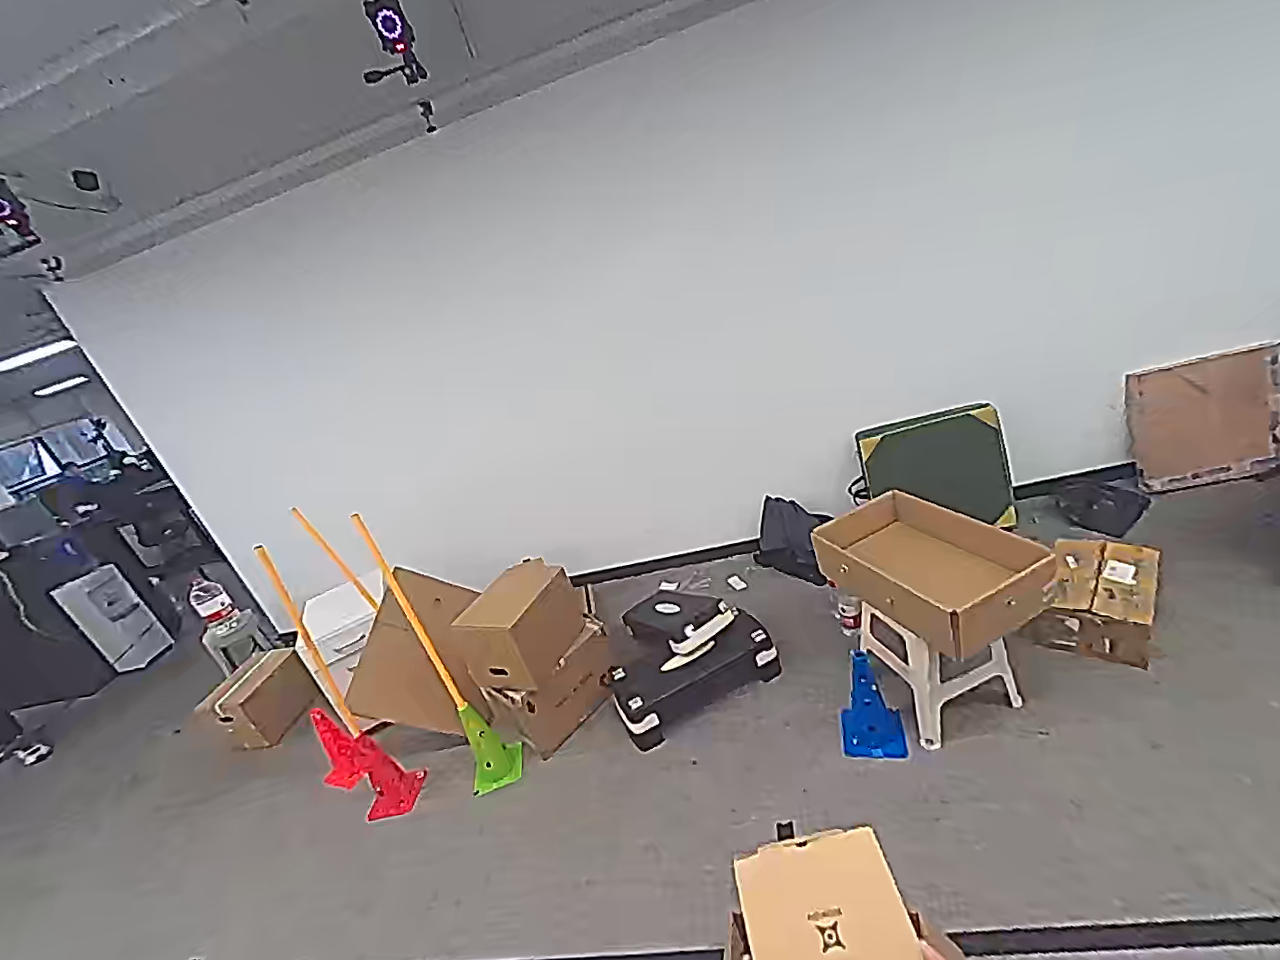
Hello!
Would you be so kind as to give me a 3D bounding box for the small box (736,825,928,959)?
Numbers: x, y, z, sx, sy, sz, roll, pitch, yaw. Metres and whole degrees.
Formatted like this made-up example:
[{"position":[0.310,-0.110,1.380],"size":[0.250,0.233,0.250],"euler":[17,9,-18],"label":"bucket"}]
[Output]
[{"position":[0.212,0.525,0.591],"size":[0.168,0.176,0.179],"euler":[-15,29,4],"label":"small box"}]
